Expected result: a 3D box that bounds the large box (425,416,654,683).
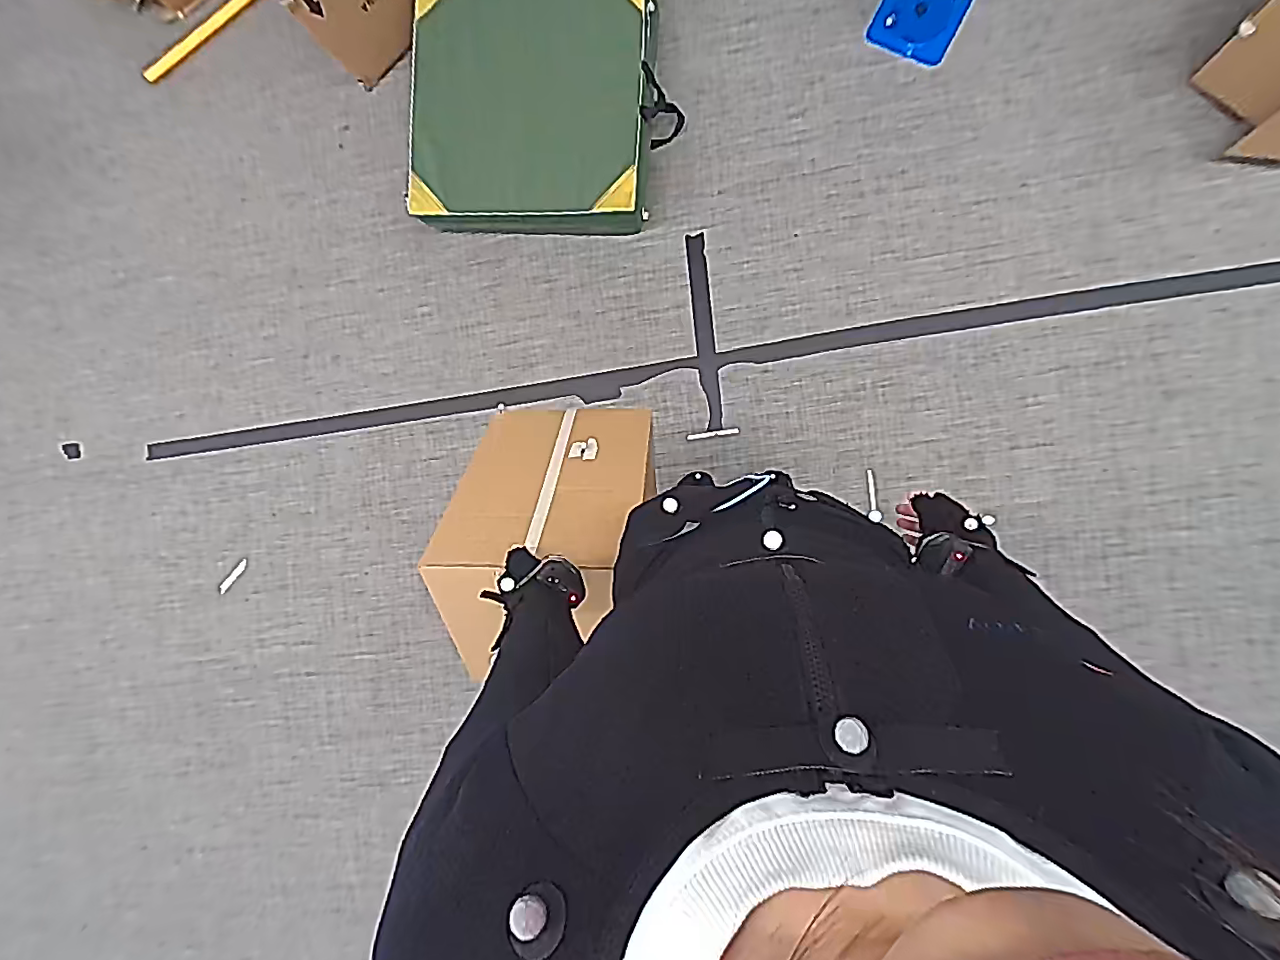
[{"bbox_3d":[-0.141,0.120,1.014,0.320,0.408,0.320,1,129,6],"label":"large box"}]
